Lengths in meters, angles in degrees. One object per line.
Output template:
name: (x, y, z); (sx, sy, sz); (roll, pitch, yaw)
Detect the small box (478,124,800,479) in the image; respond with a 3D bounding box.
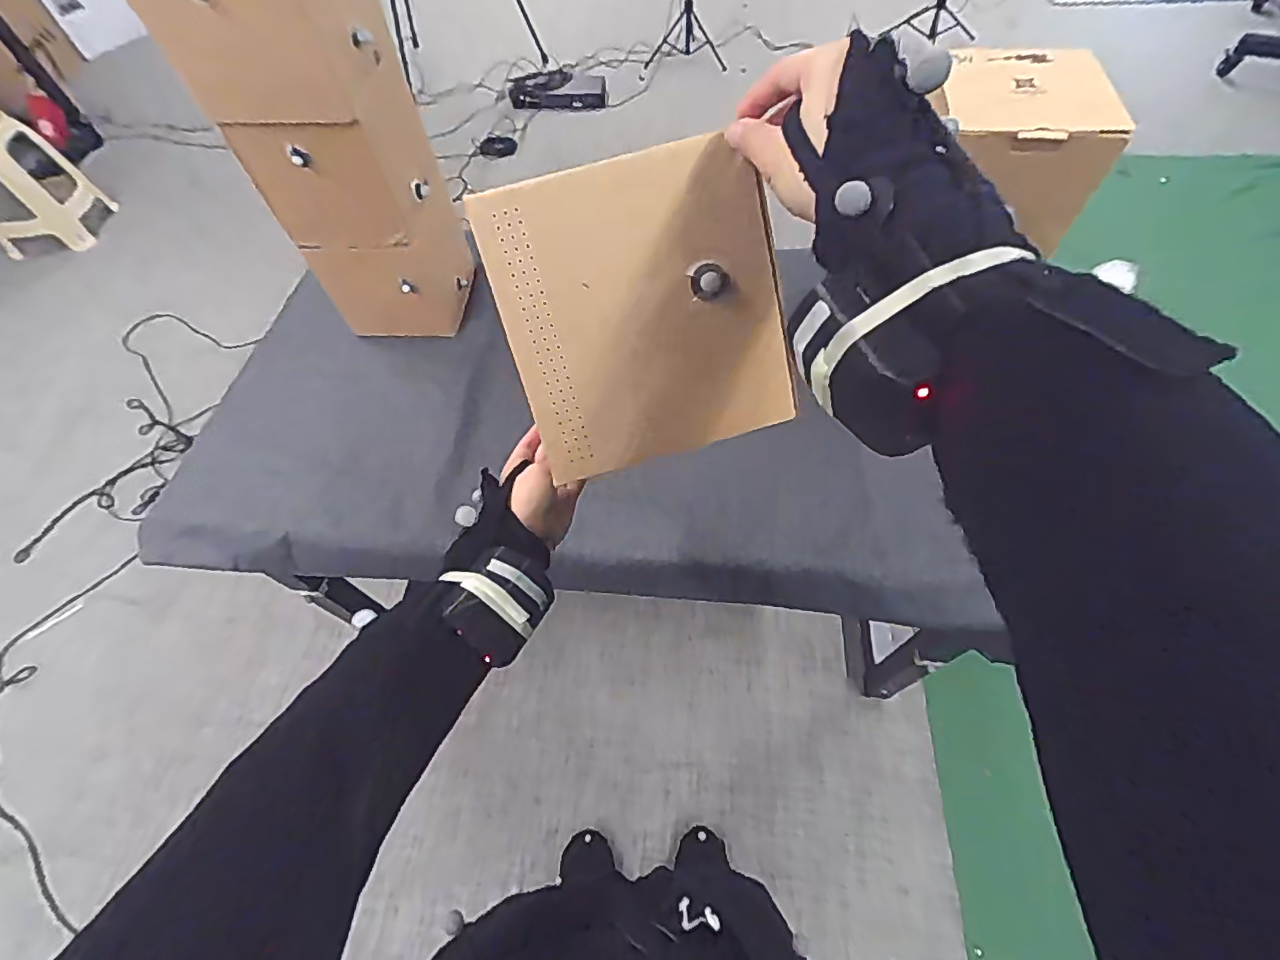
small box: (-0.005, -0.120, 0.399); (0.176, 0.179, 0.168); (-15, 17, -1)

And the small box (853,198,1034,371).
small box: (0.414, -0.282, 0.775); (0.168, 0.176, 0.179); (6, 60, 7)

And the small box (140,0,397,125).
small box: (-0.396, -0.507, 0.576); (0.179, 0.176, 0.168); (3, 60, 3)

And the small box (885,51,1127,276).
small box: (0.401, -0.363, 0.633); (0.168, 0.176, 0.179); (6, 61, 7)

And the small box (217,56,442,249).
small box: (-0.392, -0.430, 0.721); (0.179, 0.176, 0.168); (1, 61, 2)
